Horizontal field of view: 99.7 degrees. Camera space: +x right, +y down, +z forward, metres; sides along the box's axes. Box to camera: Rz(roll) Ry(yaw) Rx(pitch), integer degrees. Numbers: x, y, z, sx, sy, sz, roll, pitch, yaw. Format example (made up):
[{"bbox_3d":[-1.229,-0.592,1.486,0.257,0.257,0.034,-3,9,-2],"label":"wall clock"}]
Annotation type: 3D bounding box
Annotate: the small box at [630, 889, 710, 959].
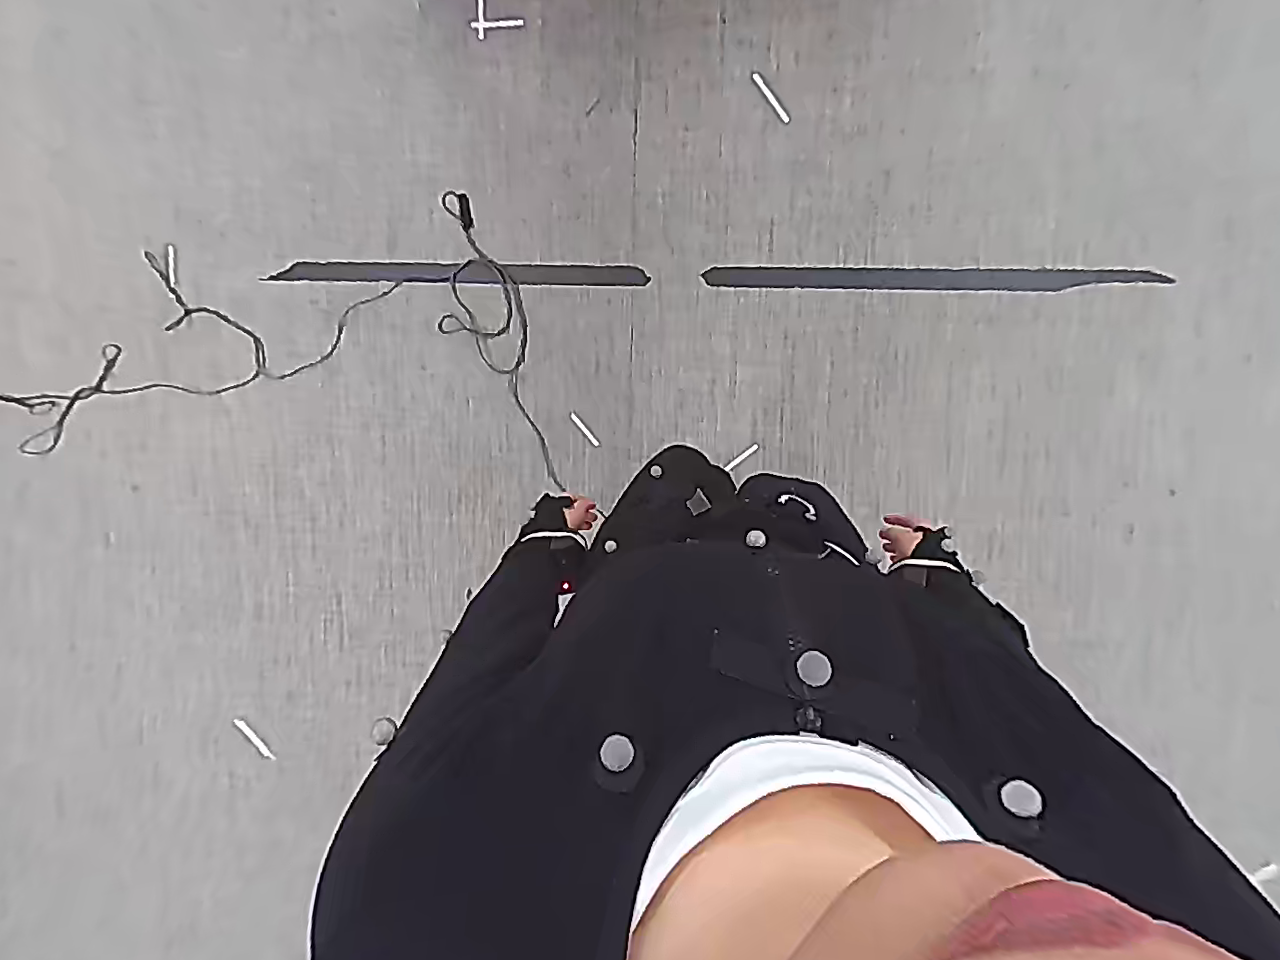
[{"bbox_3d":[0.066,1.045,1.175,0.168,0.176,0.179,3,94,5],"label":"small box"}]
